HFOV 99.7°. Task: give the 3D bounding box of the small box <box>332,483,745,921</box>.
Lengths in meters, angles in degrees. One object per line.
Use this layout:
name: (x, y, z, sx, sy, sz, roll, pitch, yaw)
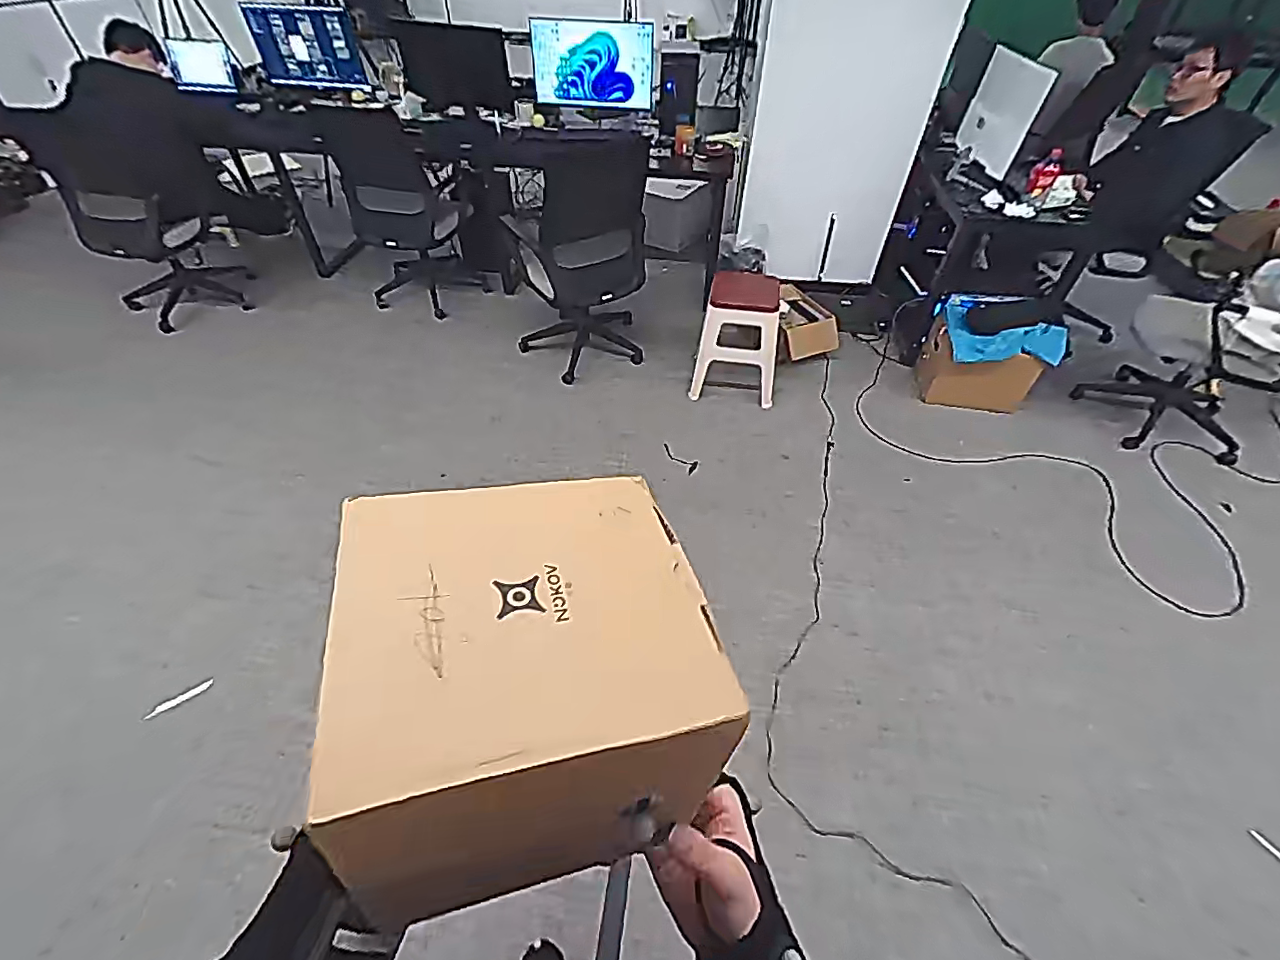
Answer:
small box: (-0.067, 0.124, 0.329, 0.179, 0.176, 0.168, -7, 42, -20)
